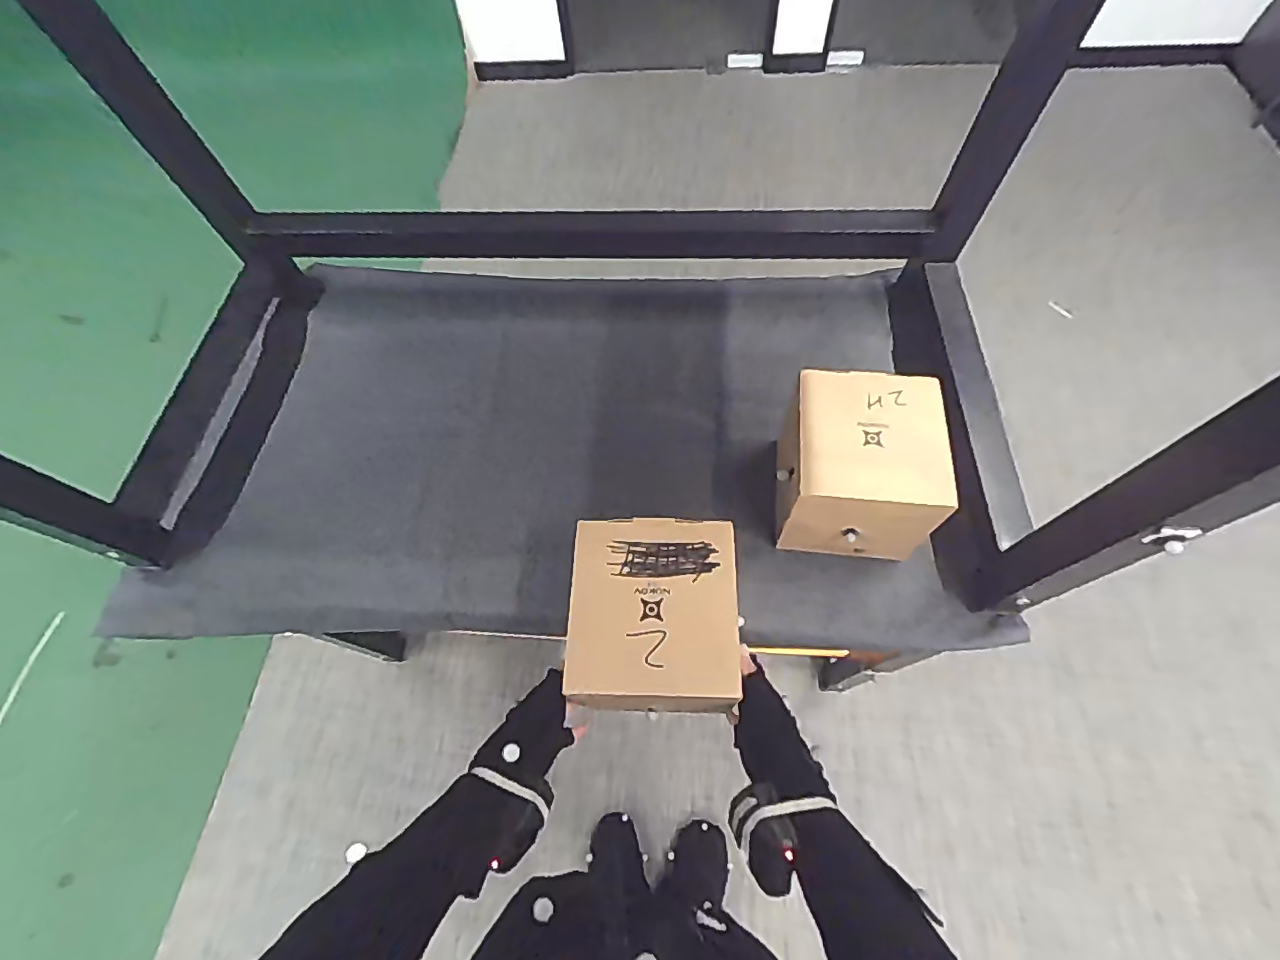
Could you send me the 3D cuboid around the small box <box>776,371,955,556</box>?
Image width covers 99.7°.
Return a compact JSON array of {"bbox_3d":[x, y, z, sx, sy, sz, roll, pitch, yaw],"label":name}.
[{"bbox_3d":[0.272,-0.015,0.690,0.168,0.176,0.179,5,63,6],"label":"small box"}]
